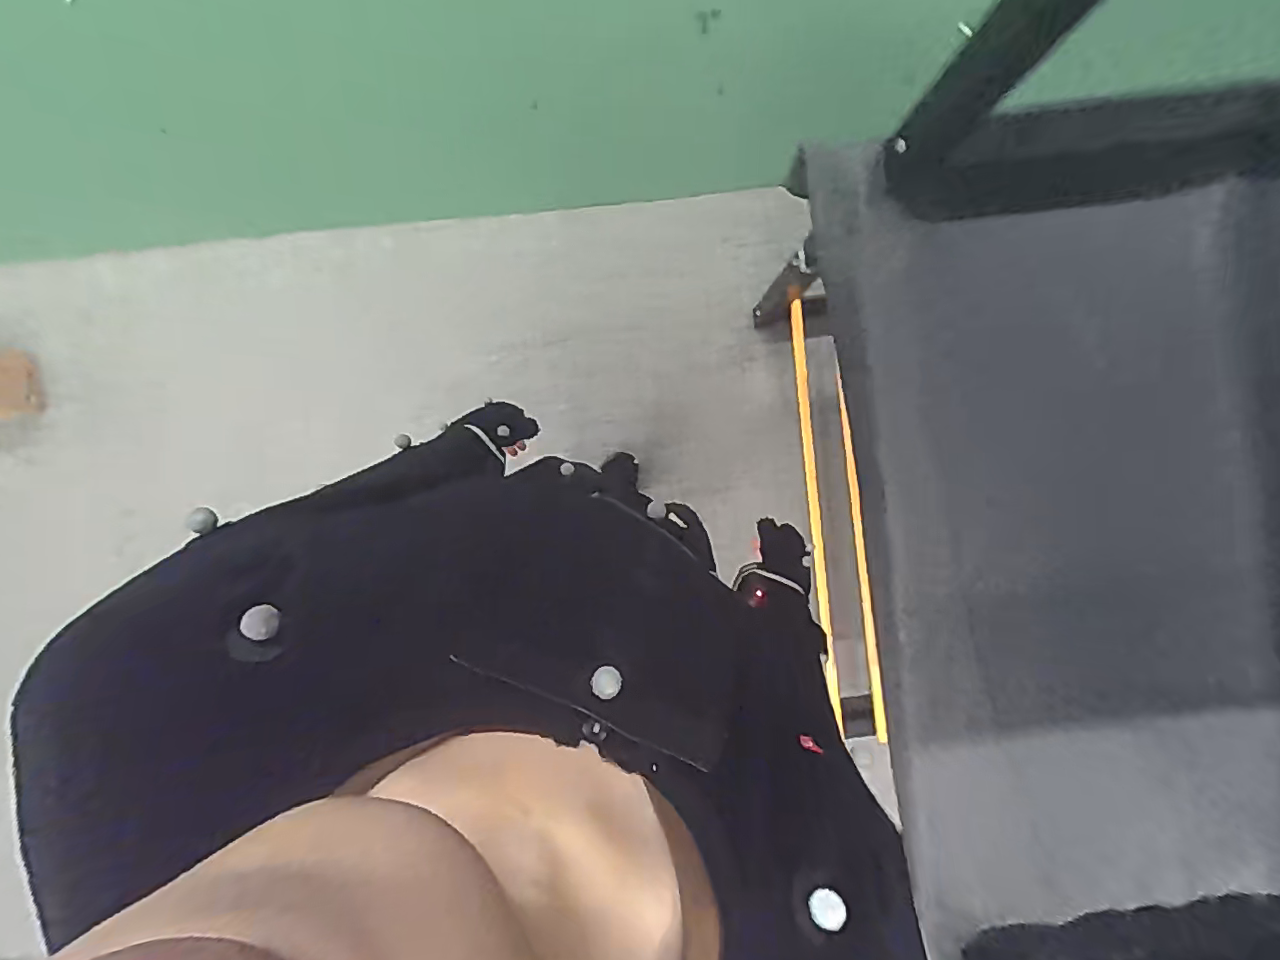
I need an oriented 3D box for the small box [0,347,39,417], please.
[{"bbox_3d":[-1.697,-0.253,1.374,0.179,0.176,0.168,-7,91,0],"label":"small box"}]
